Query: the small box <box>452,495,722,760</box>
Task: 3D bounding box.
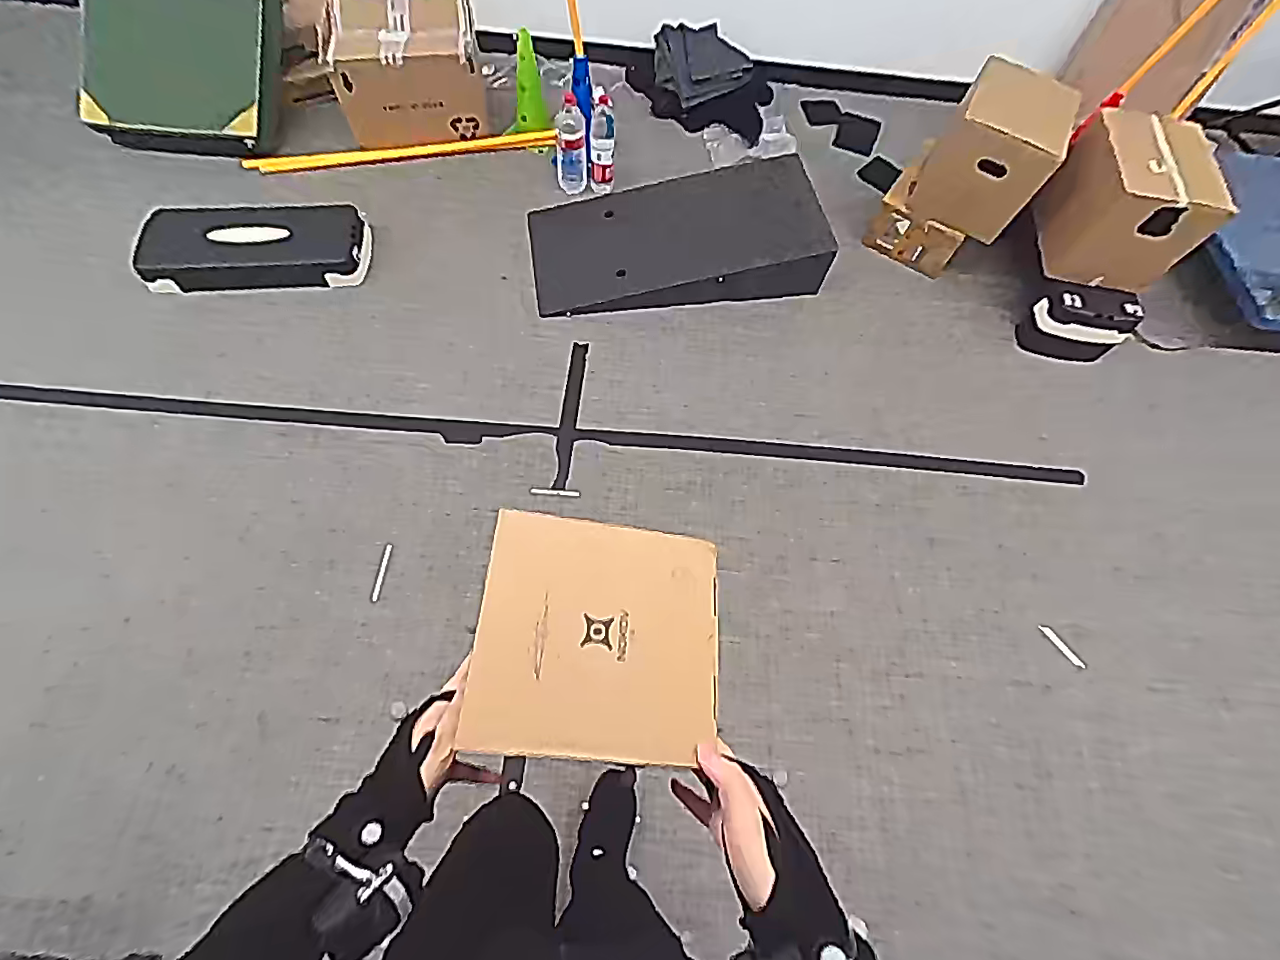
[{"bbox_3d":[-0.045,0.133,0.452,0.179,0.176,0.168,11,61,-10],"label":"small box"}]
